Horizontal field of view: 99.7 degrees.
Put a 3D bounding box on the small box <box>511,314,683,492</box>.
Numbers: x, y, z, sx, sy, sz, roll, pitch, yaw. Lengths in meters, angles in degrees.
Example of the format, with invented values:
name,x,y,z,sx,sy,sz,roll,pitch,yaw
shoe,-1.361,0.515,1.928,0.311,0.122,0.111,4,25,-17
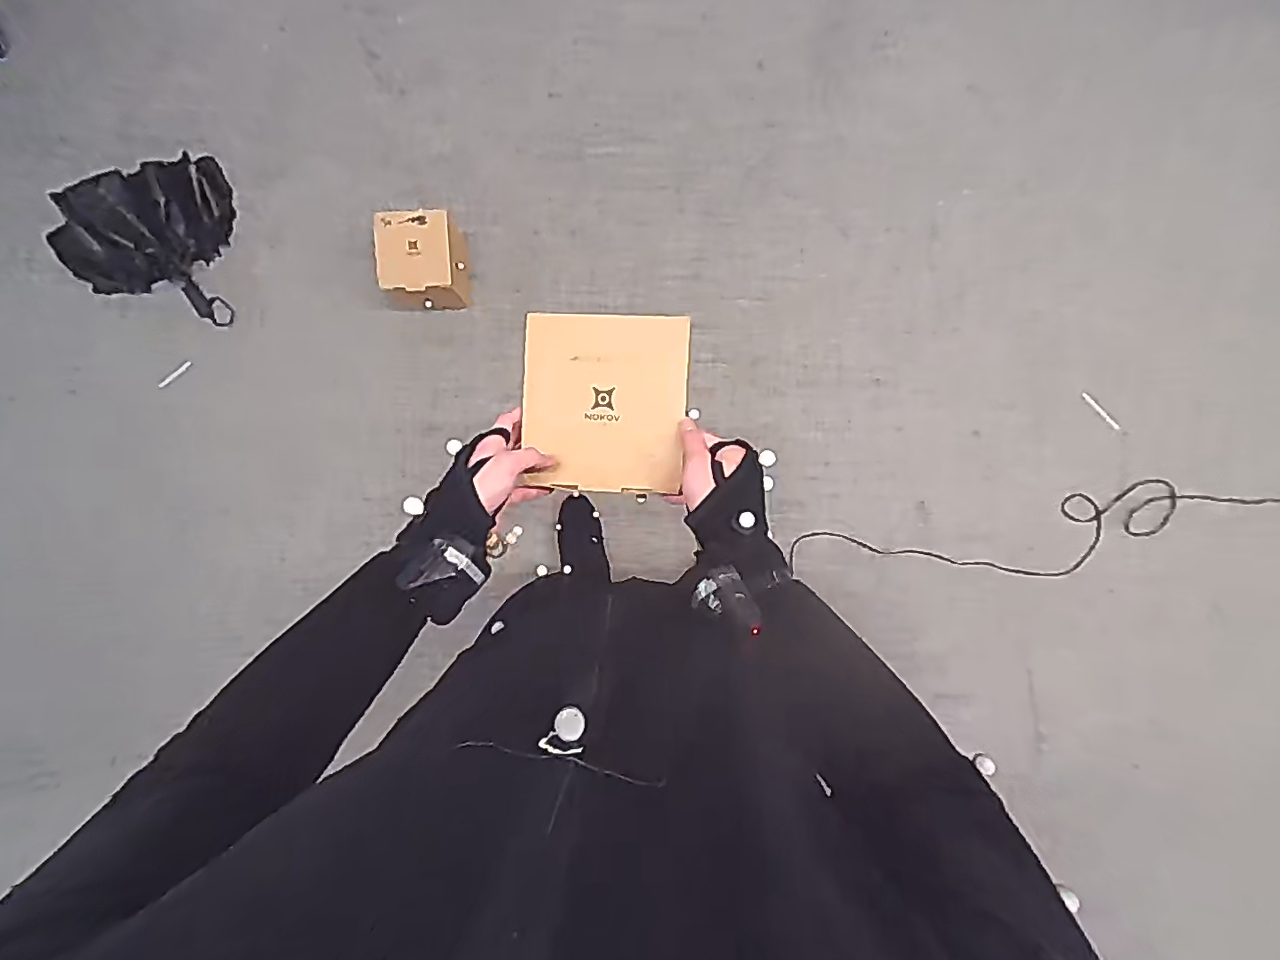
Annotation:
name,x,y,z,sx,sy,sz,roll,pitch,yaw
small box,-0.038,-0.079,0.616,0.168,0.176,0.179,2,90,6

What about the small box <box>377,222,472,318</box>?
name,x,y,z,sx,sy,sz,roll,pitch,yaw
small box,-0.515,-0.501,1.316,0.168,0.176,0.179,-4,91,-2
